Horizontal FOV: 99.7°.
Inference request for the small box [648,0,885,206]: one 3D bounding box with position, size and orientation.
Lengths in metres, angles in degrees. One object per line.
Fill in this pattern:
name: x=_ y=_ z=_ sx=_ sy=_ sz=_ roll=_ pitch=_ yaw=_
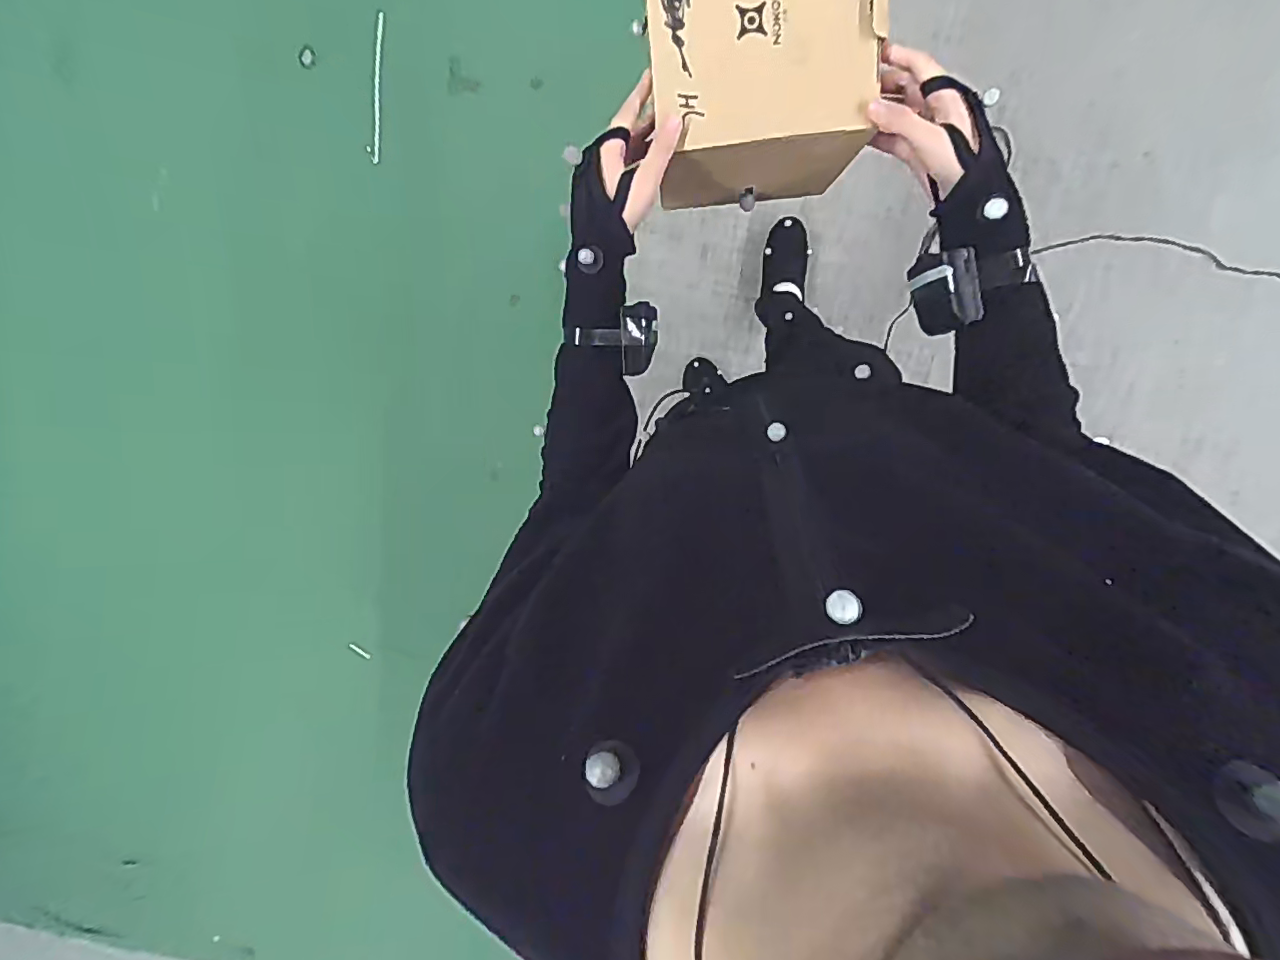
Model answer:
small box: x=0.097 y=-0.361 z=0.481 sx=0.179 sy=0.176 sz=0.168 roll=-3 pitch=100 yaw=3
